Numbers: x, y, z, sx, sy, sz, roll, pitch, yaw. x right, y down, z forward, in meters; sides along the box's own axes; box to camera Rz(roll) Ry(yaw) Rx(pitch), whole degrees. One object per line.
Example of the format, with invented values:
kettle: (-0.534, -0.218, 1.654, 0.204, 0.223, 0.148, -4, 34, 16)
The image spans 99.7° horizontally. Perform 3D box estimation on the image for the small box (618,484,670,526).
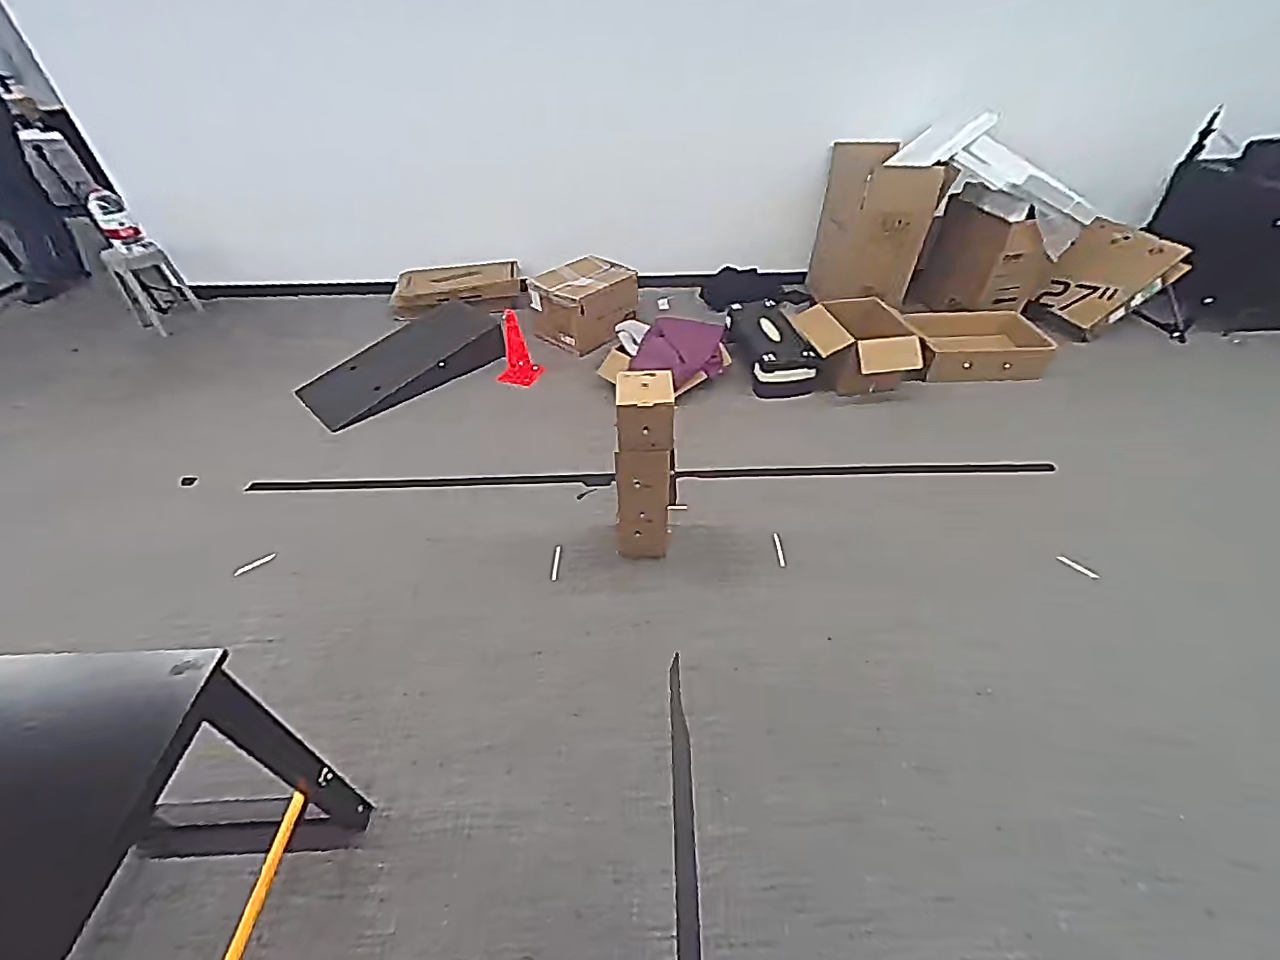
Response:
small box: (0.017, 0.032, 1.831, 0.168, 0.176, 0.179, 1, 43, 3)

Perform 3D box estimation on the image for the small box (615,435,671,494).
small box: (0.015, -0.078, 1.711, 0.168, 0.176, 0.179, 1, 44, 4)

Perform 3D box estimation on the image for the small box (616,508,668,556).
small box: (0.012, 0.157, 1.939, 0.179, 0.176, 0.168, 2, 43, 3)

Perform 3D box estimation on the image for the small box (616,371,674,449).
small box: (0.017, -0.205, 1.606, 0.168, 0.176, 0.179, -2, 43, 1)
